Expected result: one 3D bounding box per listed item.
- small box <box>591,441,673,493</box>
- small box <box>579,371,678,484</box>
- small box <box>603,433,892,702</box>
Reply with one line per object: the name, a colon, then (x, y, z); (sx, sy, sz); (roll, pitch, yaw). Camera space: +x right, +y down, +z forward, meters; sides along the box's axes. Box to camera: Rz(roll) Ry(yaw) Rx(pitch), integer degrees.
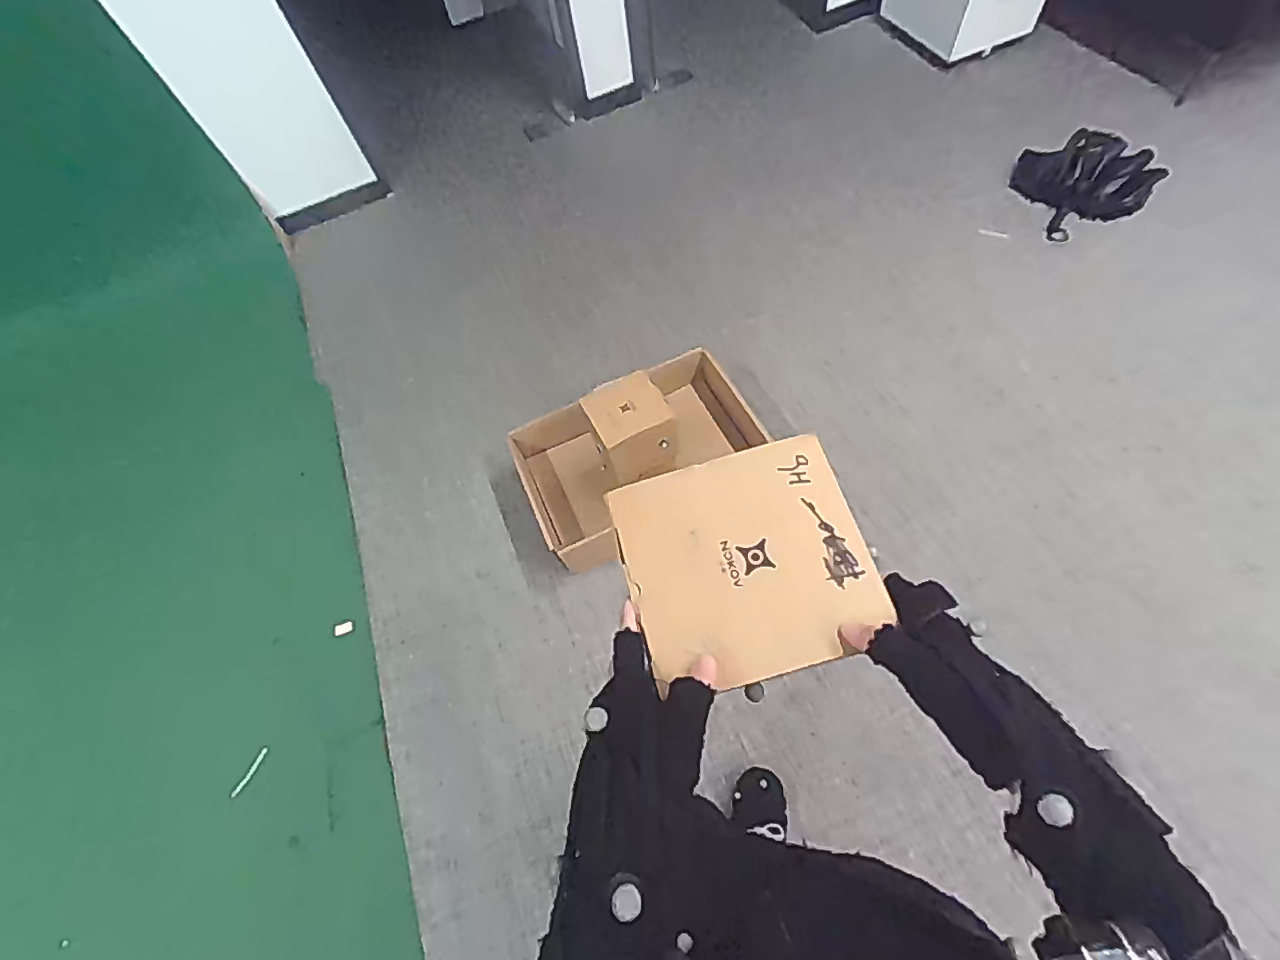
small box: (-0.015, -0.047, 1.464); (0.168, 0.176, 0.179); (-25, 61, -6)
small box: (-0.022, -0.122, 1.301); (0.179, 0.176, 0.168); (-30, 62, -10)
small box: (0.083, 0.089, 0.482); (0.179, 0.176, 0.168); (-18, 65, -2)
